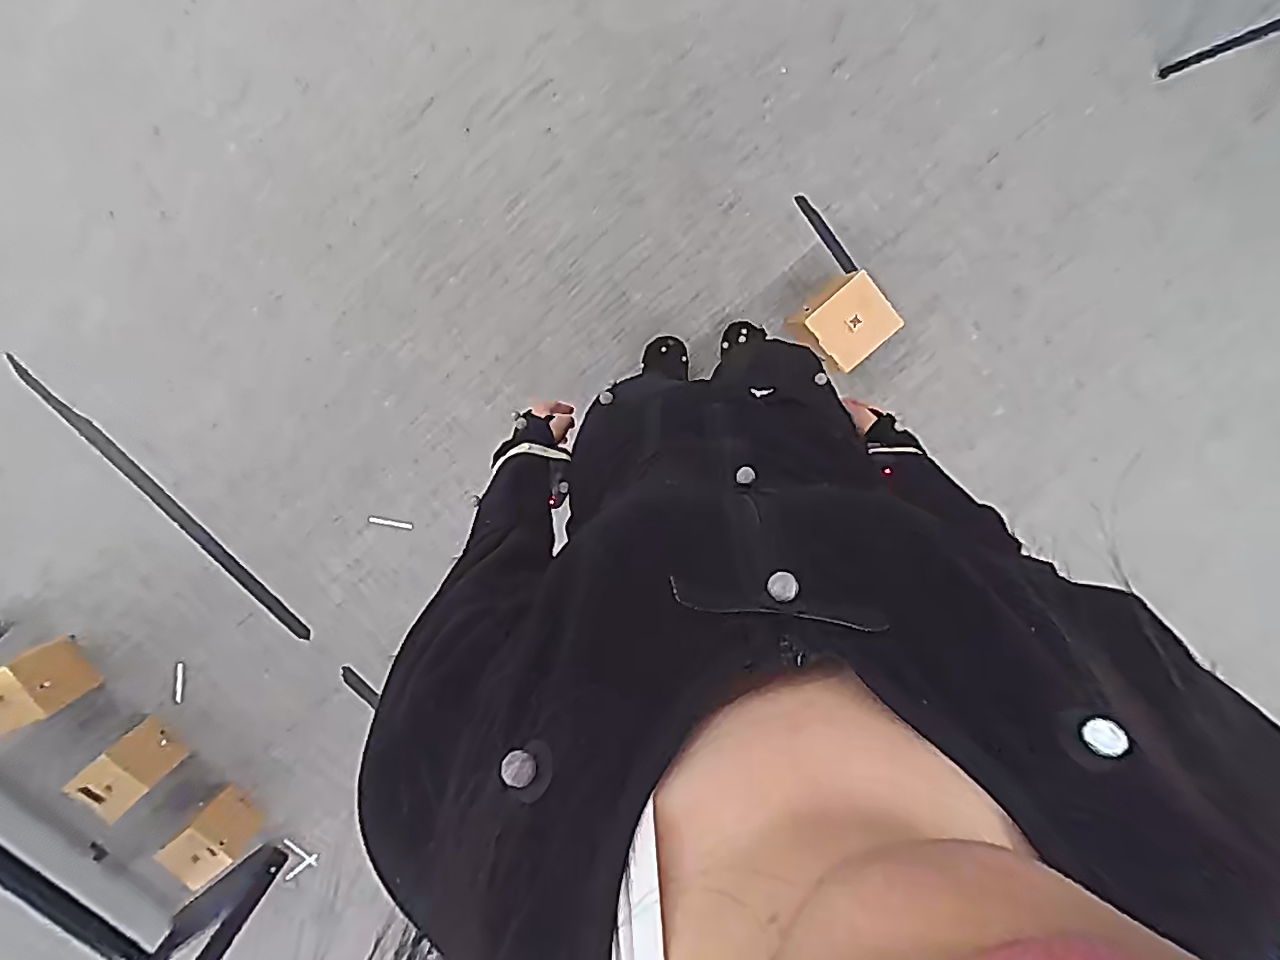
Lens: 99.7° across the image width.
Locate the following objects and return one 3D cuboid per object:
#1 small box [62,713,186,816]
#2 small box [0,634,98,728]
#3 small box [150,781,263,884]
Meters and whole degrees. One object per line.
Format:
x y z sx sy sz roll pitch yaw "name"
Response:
-1.522 0.840 1.609 0.179 0.176 0.168 -39 102 8 "small box"
-1.731 0.561 1.536 0.168 0.176 0.179 -21 105 4 "small box"
-1.331 1.085 1.675 0.179 0.176 0.168 -35 102 9 "small box"
